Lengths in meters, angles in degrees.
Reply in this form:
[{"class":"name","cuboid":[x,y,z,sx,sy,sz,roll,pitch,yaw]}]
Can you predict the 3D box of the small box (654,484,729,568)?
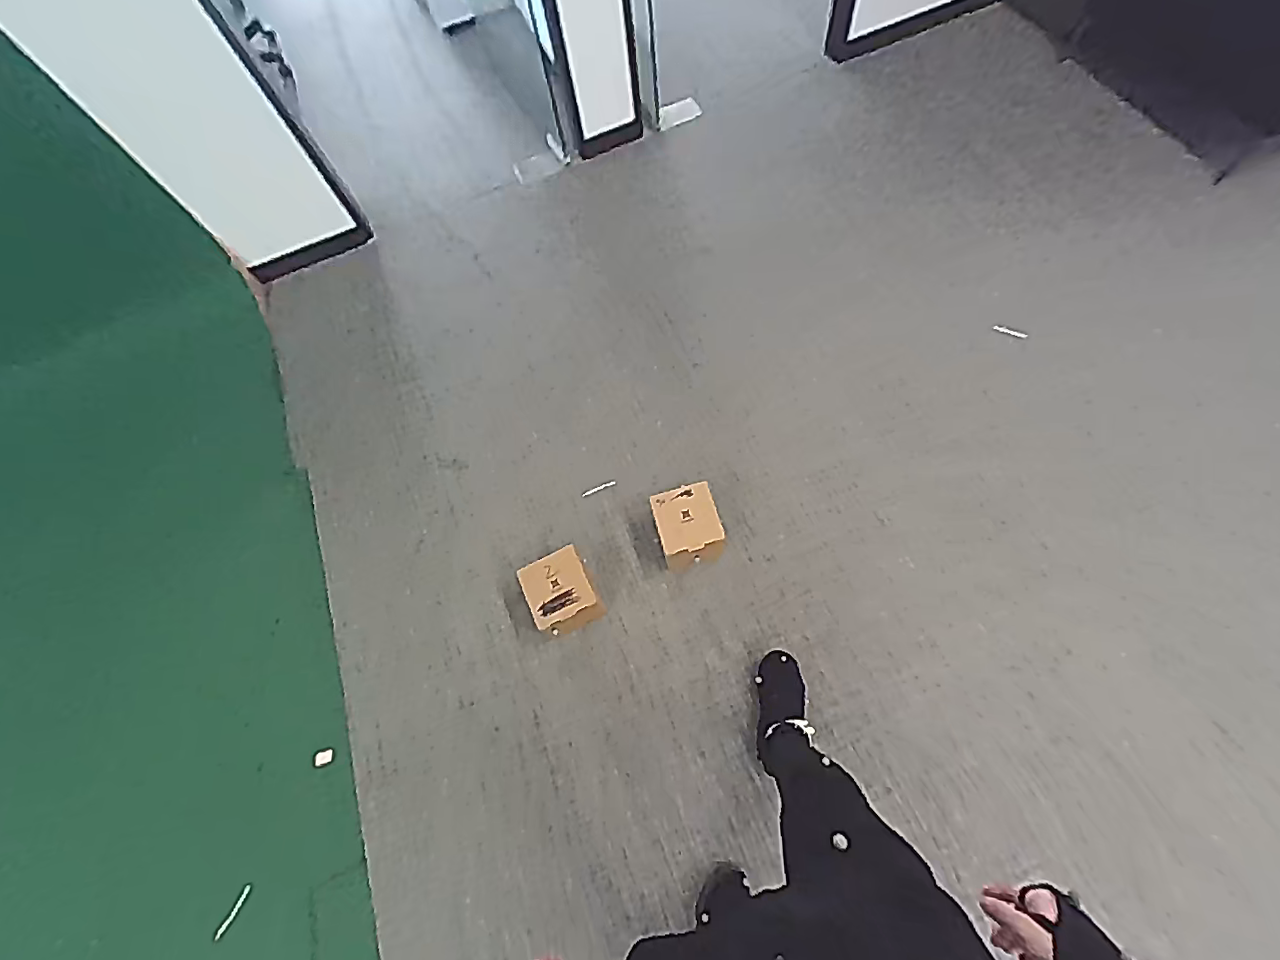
[{"class":"small box","cuboid":[0.144,0.136,1.511,0.168,0.176,0.179,-16,67,0]}]
